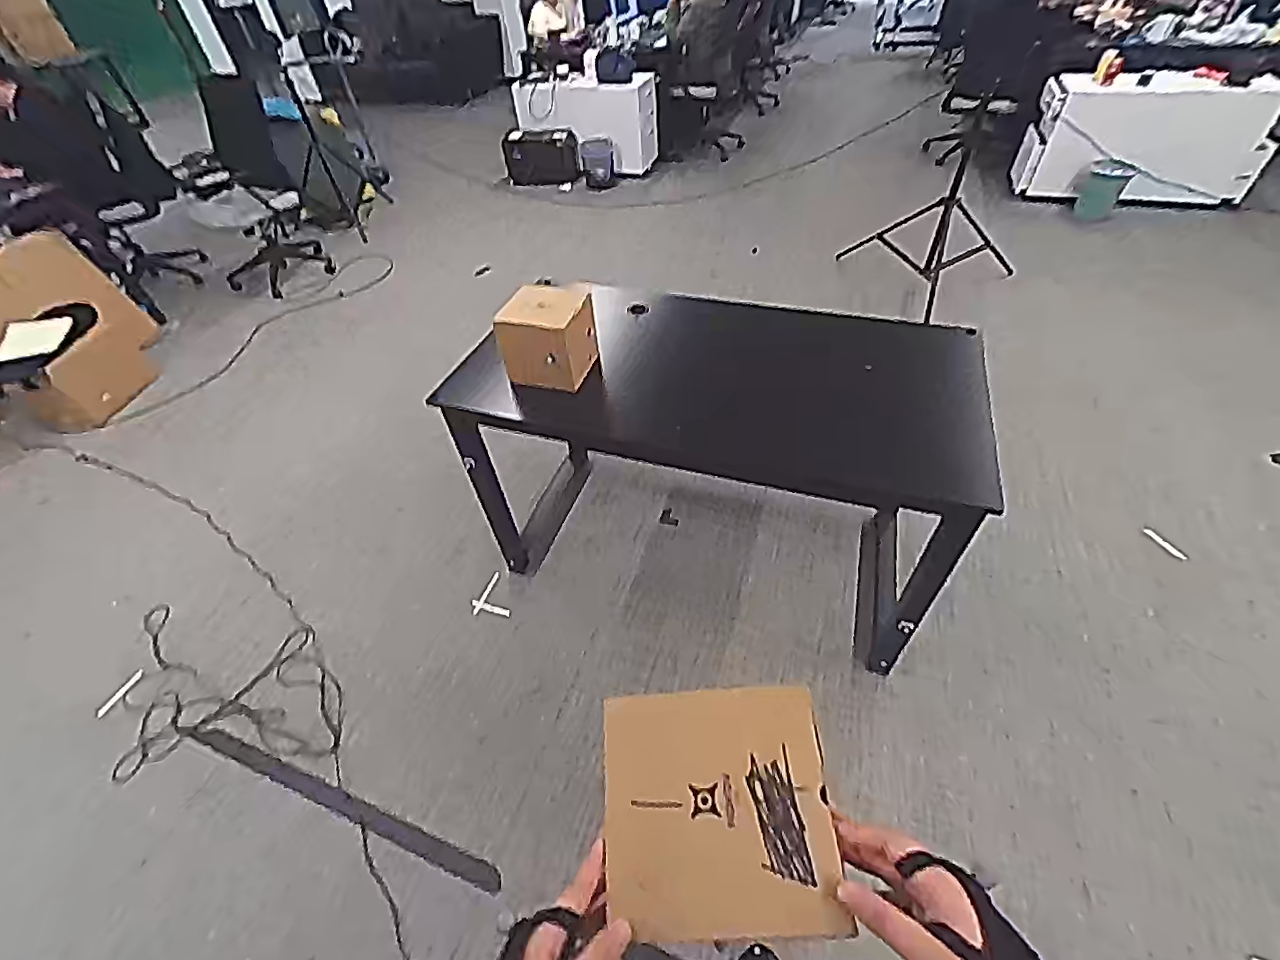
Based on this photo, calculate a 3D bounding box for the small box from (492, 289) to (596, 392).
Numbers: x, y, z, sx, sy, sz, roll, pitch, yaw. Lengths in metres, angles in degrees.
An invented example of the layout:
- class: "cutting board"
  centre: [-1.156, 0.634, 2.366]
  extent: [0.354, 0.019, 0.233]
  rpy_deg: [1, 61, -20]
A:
- class: "small box"
  centre: [-0.214, -0.324, 1.267]
  extent: [0.179, 0.176, 0.168]
  rpy_deg: [10, 47, 15]

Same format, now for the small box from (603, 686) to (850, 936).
- class: "small box"
  centre: [0.068, 0.292, 0.488]
  extent: [0.179, 0.176, 0.168]
  rpy_deg: [-7, 56, 6]
